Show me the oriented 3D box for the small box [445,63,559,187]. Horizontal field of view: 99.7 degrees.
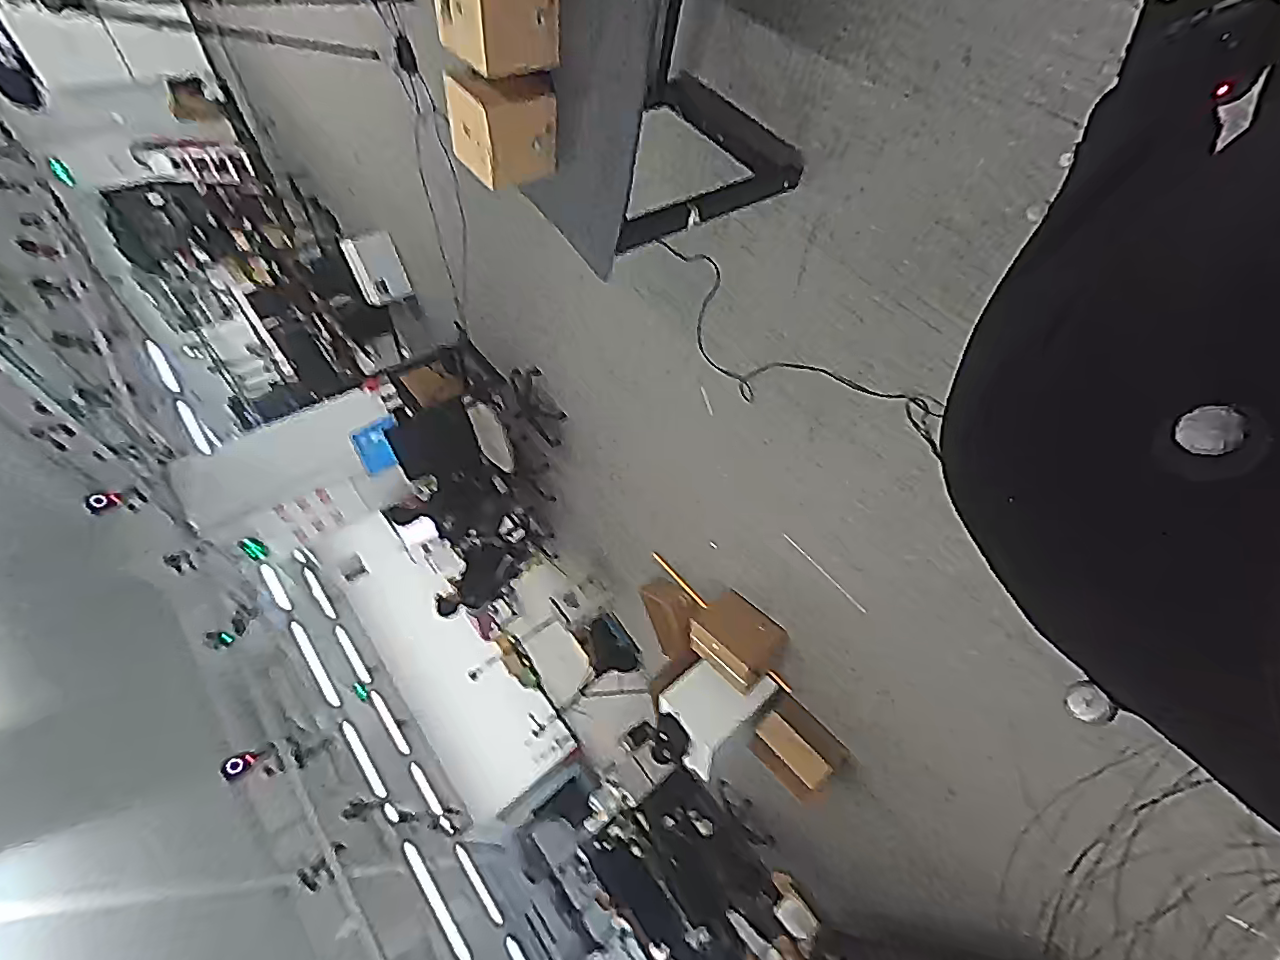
[{"bbox_3d":[-0.297,-0.781,1.185,0.179,0.176,0.168,48,153,20],"label":"small box"}]
